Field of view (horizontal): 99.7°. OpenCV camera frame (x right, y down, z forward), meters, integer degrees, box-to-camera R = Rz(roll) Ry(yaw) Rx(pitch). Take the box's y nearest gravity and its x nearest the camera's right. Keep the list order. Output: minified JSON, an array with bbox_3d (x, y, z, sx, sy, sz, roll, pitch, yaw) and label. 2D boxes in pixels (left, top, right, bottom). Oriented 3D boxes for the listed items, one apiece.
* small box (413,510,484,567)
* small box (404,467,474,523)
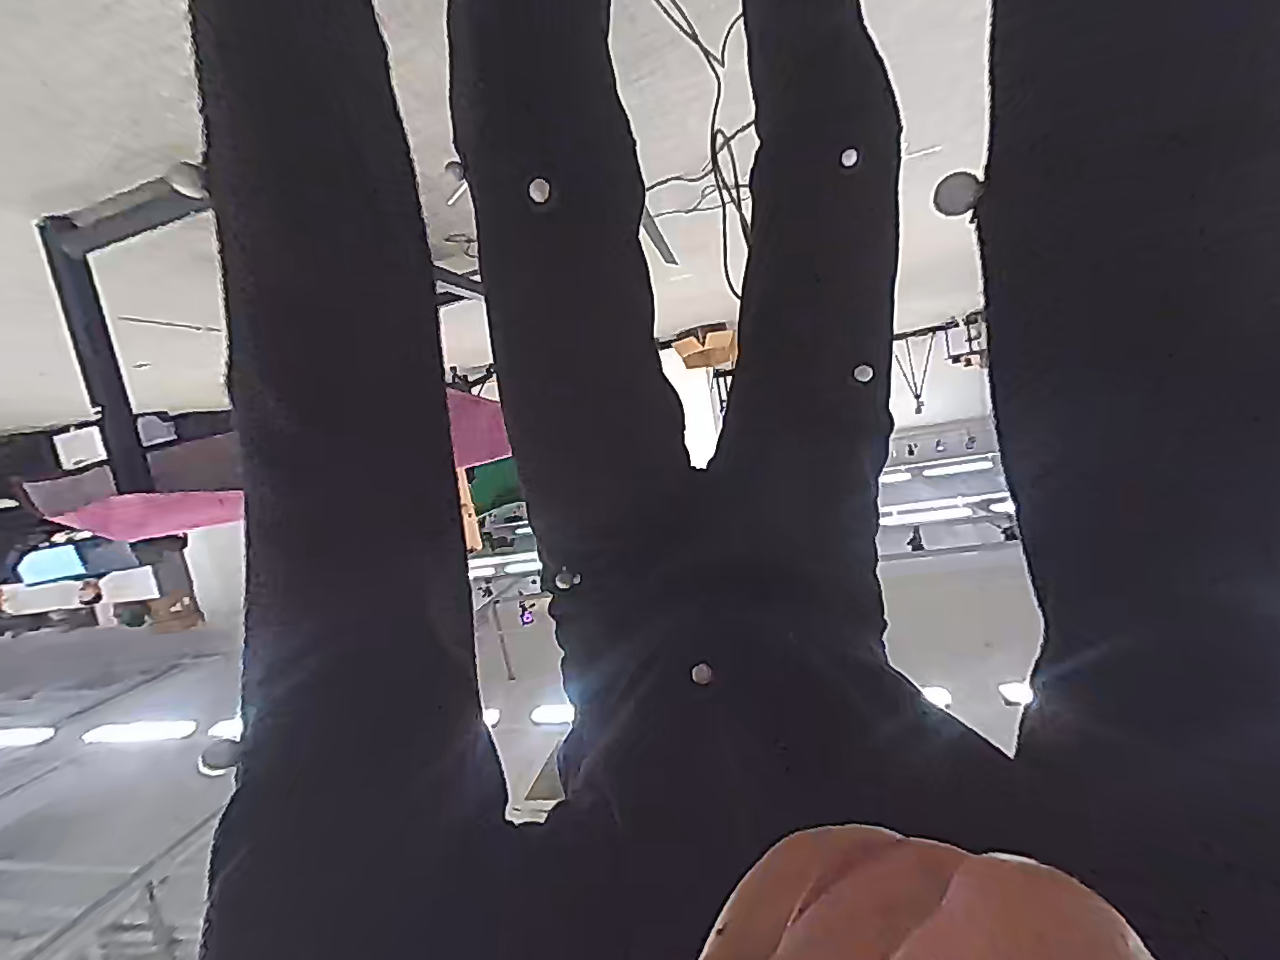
[{"bbox_3d":[-0.712,0.210,2.010,0.179,0.176,0.168,-8,-173,18],"label":"small box"},{"bbox_3d":[-0.743,0.050,1.989,0.179,0.176,0.168,-9,-173,14],"label":"small box"}]
